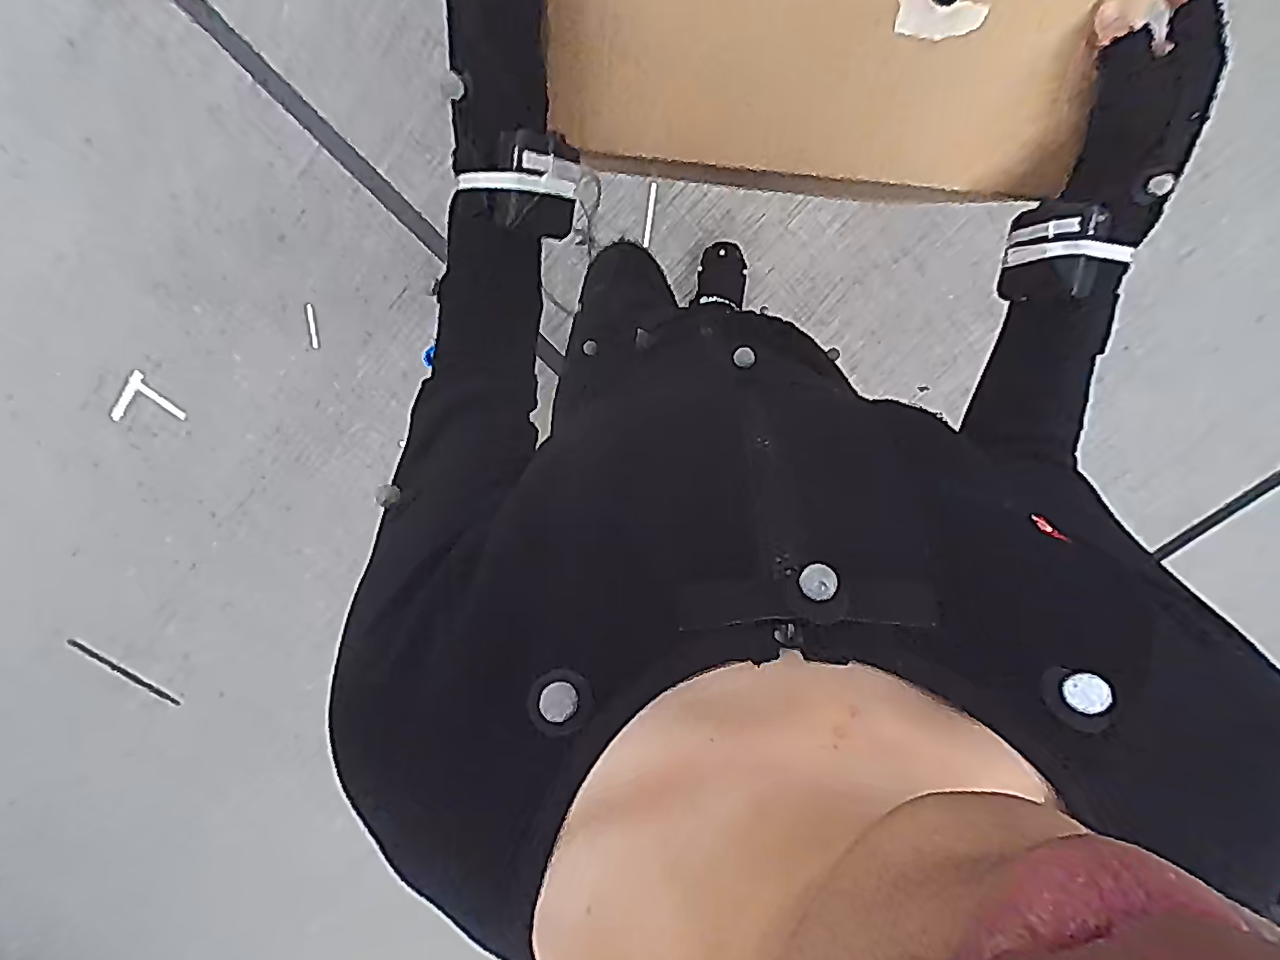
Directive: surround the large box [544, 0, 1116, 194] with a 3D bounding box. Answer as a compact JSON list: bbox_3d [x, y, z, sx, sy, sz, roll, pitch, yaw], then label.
[{"bbox_3d":[0.136,-0.451,0.486,0.408,0.320,0.320,5,117,-1],"label":"large box"}]
